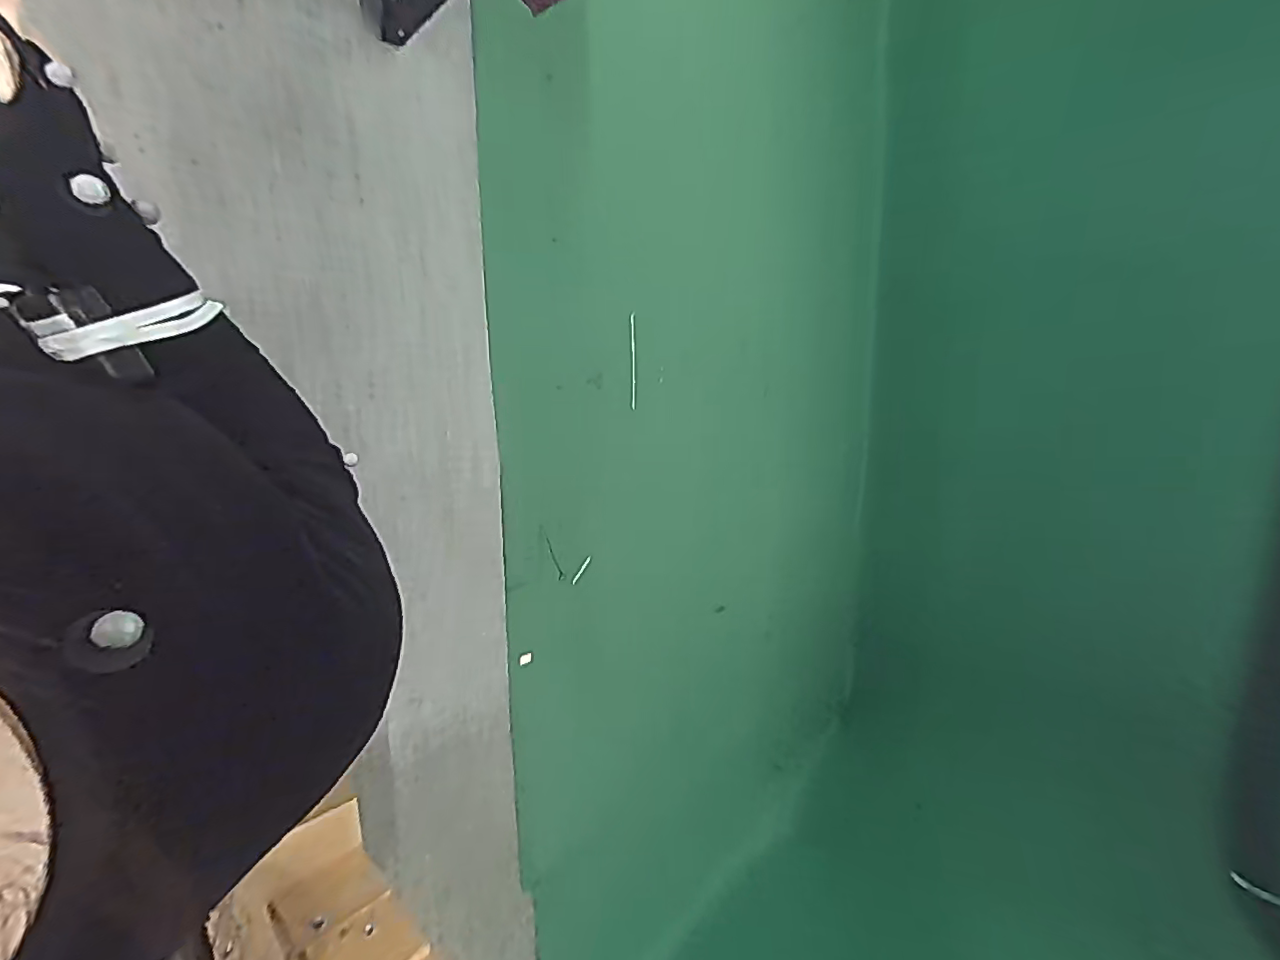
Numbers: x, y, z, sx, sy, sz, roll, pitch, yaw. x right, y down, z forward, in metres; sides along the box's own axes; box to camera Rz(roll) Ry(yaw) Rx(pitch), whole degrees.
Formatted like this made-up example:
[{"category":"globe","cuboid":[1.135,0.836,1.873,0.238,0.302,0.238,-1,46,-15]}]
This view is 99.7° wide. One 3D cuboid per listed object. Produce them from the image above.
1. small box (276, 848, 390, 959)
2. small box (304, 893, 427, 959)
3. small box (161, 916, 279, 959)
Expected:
[{"category":"small box","cuboid":[-0.643,0.936,1.137,0.179,0.176,0.168,-12,108,-46]},{"category":"small box","cuboid":[-0.521,0.957,1.031,0.168,0.176,0.179,-10,104,-47]},{"category":"small box","cuboid":[-0.668,0.856,0.848,0.168,0.176,0.179,1,96,-48]}]
